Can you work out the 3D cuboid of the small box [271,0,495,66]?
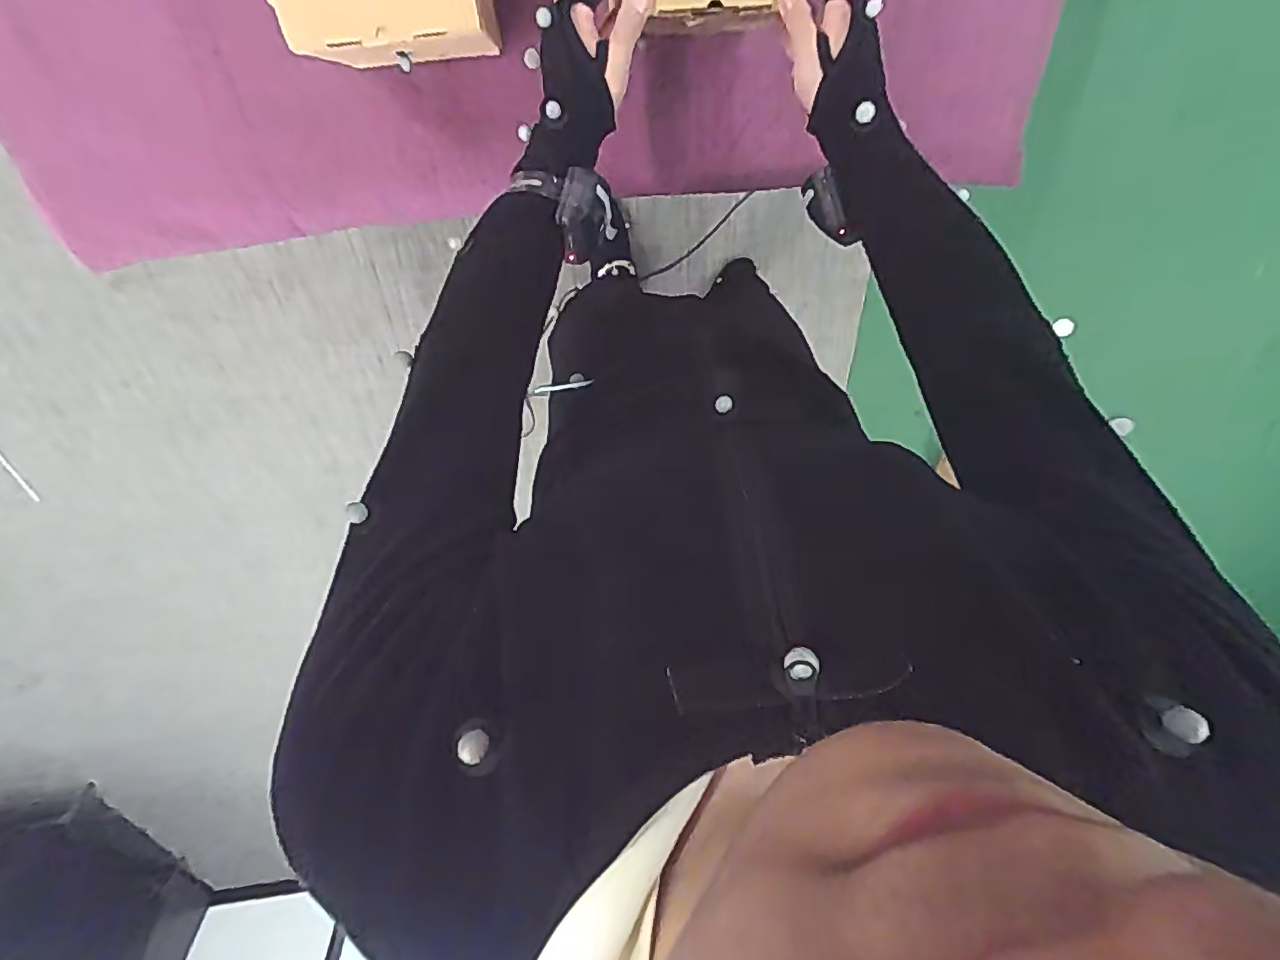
[{"bbox_3d":[-0.235,-0.490,0.481,0.168,0.176,0.179,-8,126,-3],"label":"small box"}]

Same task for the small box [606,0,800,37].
[{"bbox_3d":[0.051,-0.524,0.495,0.168,0.176,0.179,-6,124,-4],"label":"small box"}]
